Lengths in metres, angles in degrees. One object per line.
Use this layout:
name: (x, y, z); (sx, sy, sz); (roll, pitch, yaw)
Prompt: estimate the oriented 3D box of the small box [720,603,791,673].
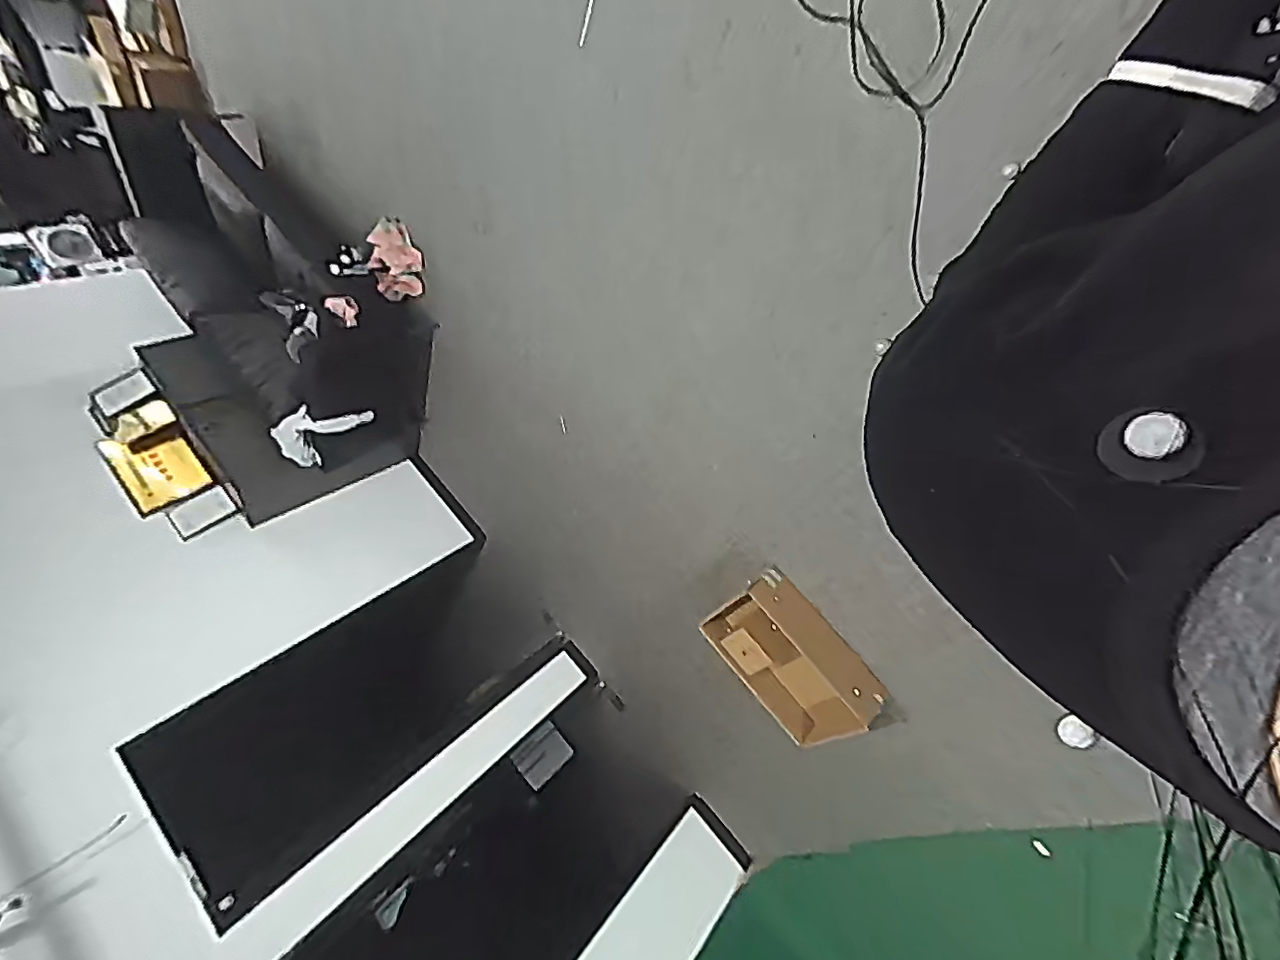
small box: (0.451, 0.610, 2.092); (0.168, 0.176, 0.179); (48, 139, 10)
